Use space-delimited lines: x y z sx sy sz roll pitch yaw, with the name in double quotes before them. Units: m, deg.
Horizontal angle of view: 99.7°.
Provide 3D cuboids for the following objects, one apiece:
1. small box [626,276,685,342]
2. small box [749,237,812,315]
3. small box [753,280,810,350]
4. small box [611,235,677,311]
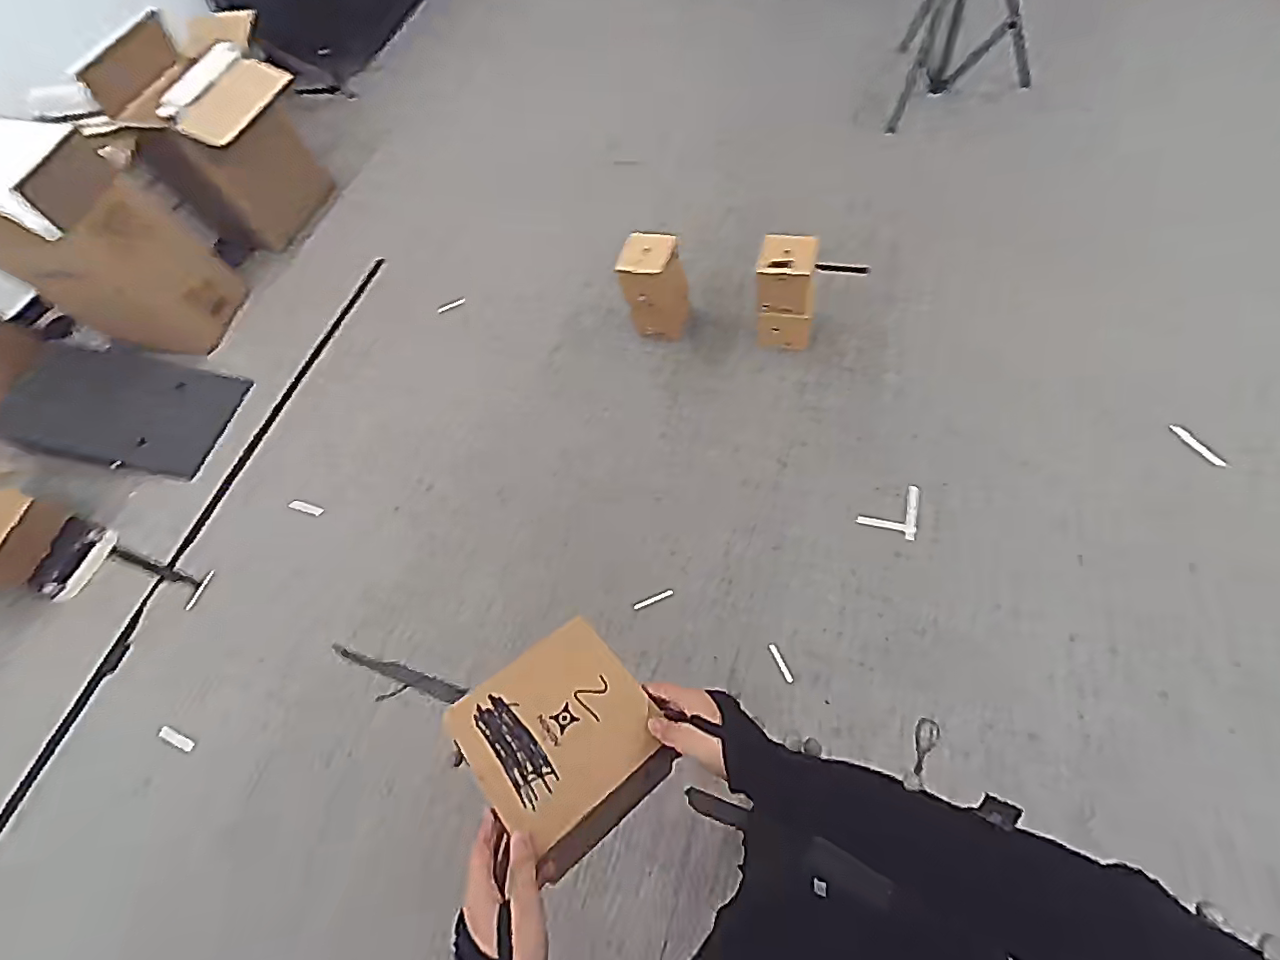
"small box" 0.063 -0.646 2.019 0.168 0.176 0.179 14 67 20
"small box" 0.455 -0.659 1.751 0.168 0.176 0.179 10 64 17
"small box" 0.495 -0.578 1.889 0.168 0.176 0.179 10 65 17
"small box" 0.022 -0.718 1.876 0.168 0.176 0.179 14 68 20
